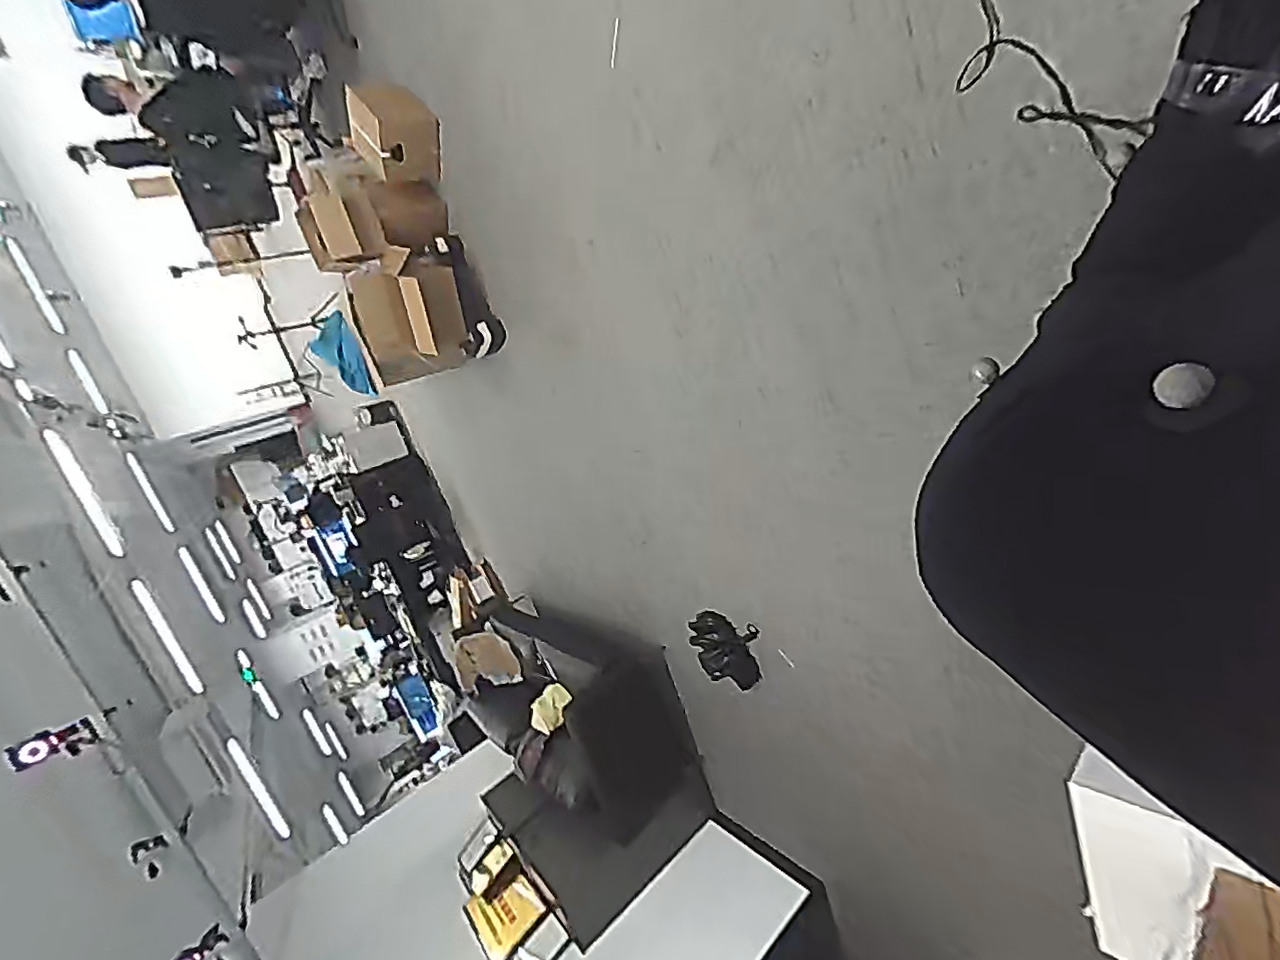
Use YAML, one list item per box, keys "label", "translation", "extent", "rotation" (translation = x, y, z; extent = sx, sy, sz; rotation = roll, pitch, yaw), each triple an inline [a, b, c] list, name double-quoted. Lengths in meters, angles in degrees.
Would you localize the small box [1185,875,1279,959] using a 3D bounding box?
- label: "small box"
  translation: [0.859, 0.678, 0.708]
  extent: [0.179, 0.176, 0.168]
  rotation: [-1, 111, 56]
